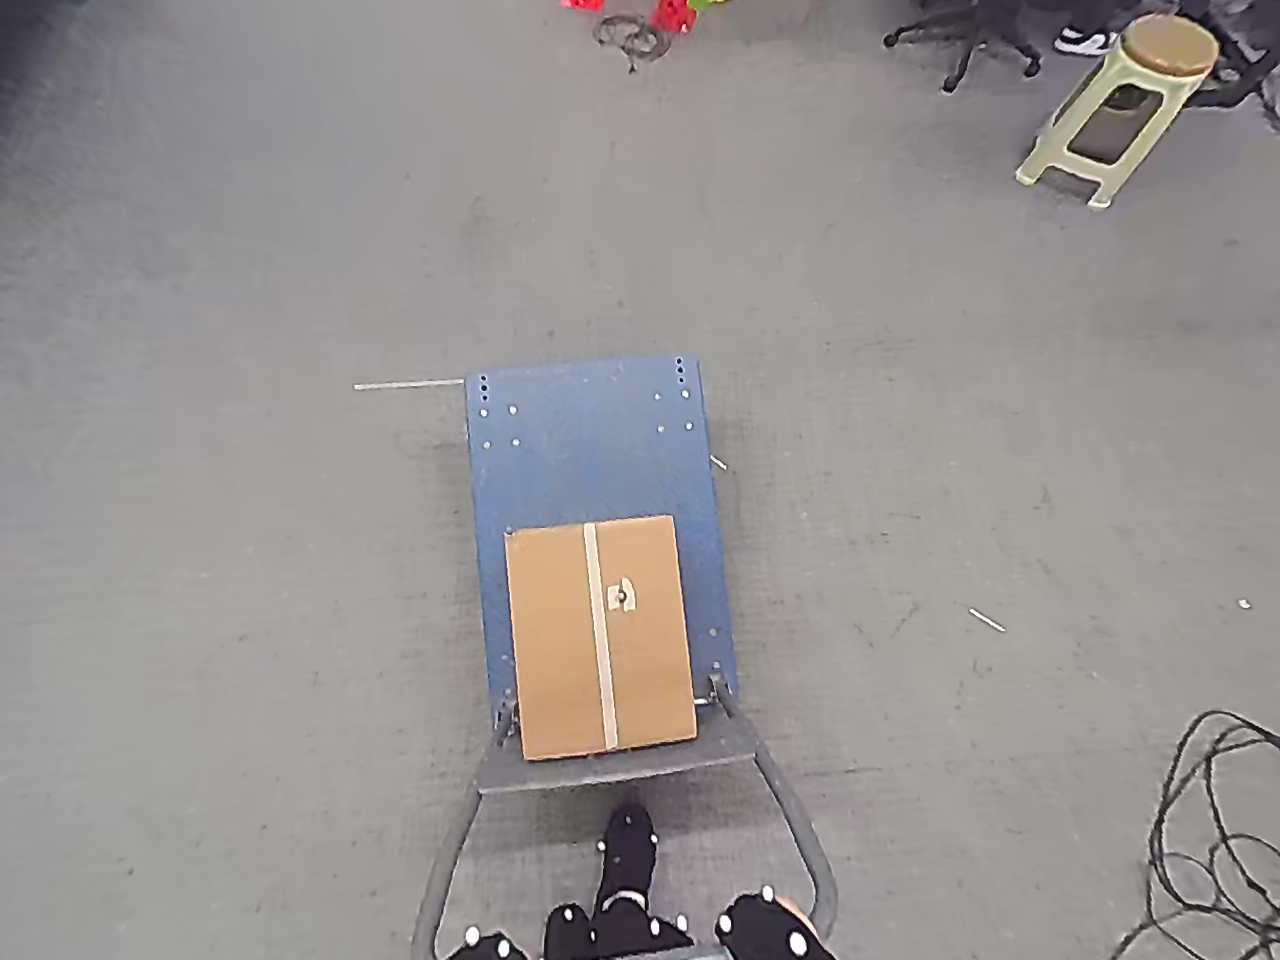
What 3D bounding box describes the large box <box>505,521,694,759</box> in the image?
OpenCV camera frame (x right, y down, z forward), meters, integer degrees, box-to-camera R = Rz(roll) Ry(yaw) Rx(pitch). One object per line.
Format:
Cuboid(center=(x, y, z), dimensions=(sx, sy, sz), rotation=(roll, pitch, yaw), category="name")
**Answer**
Cuboid(center=(-0.082, 0.308, 1.145), dimensions=(0.320, 0.320, 0.408), rotation=(-6, 84, -4), category="large box")
